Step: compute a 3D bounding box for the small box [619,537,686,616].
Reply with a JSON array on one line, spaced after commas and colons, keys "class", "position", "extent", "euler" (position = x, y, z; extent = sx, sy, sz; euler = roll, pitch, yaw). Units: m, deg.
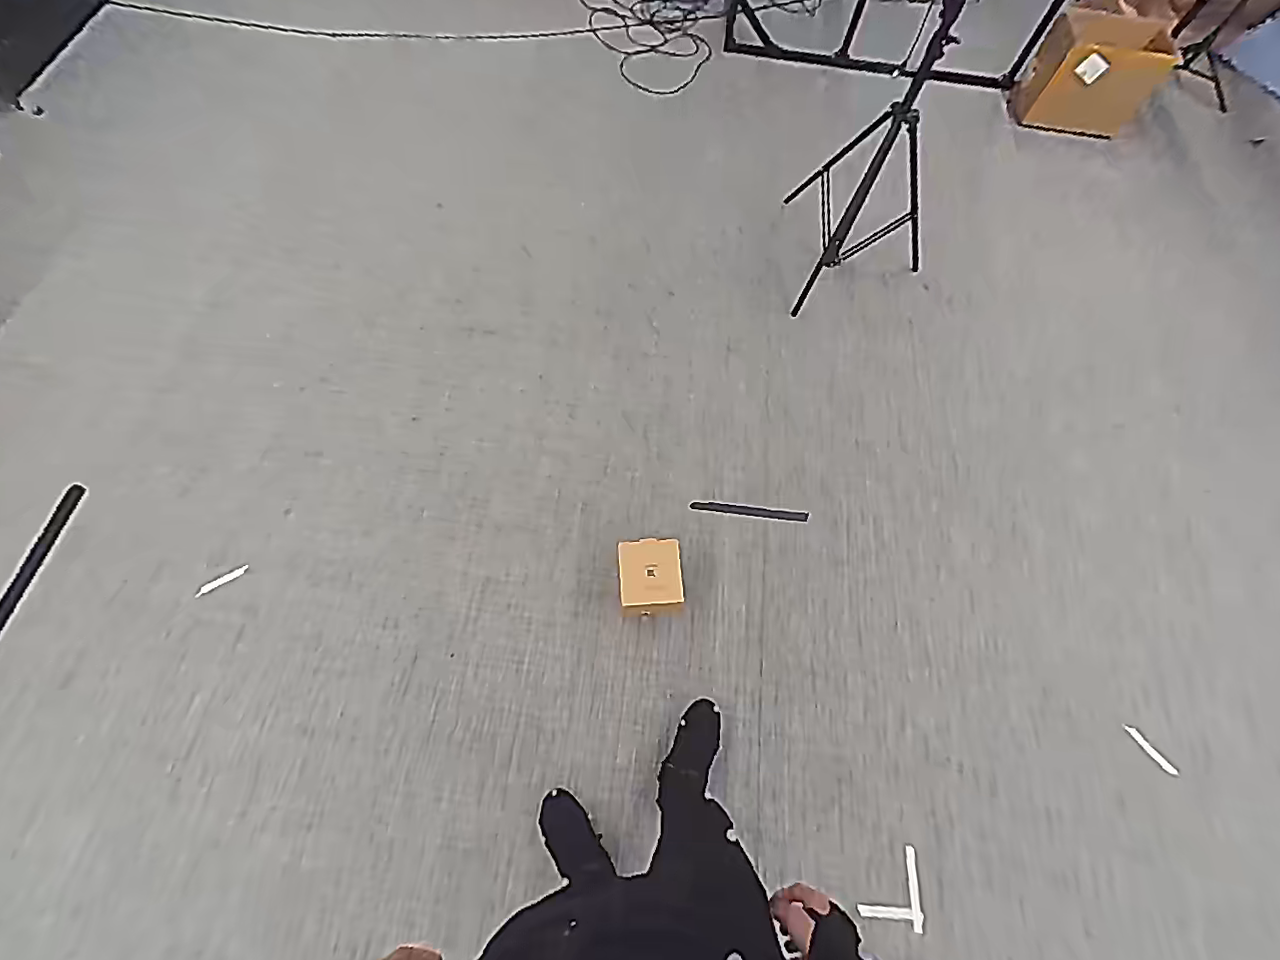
[{"class": "small box", "position": [0.028, 0.270, 1.498], "extent": [0.168, 0.176, 0.179], "euler": [-3, 66, -4]}]
